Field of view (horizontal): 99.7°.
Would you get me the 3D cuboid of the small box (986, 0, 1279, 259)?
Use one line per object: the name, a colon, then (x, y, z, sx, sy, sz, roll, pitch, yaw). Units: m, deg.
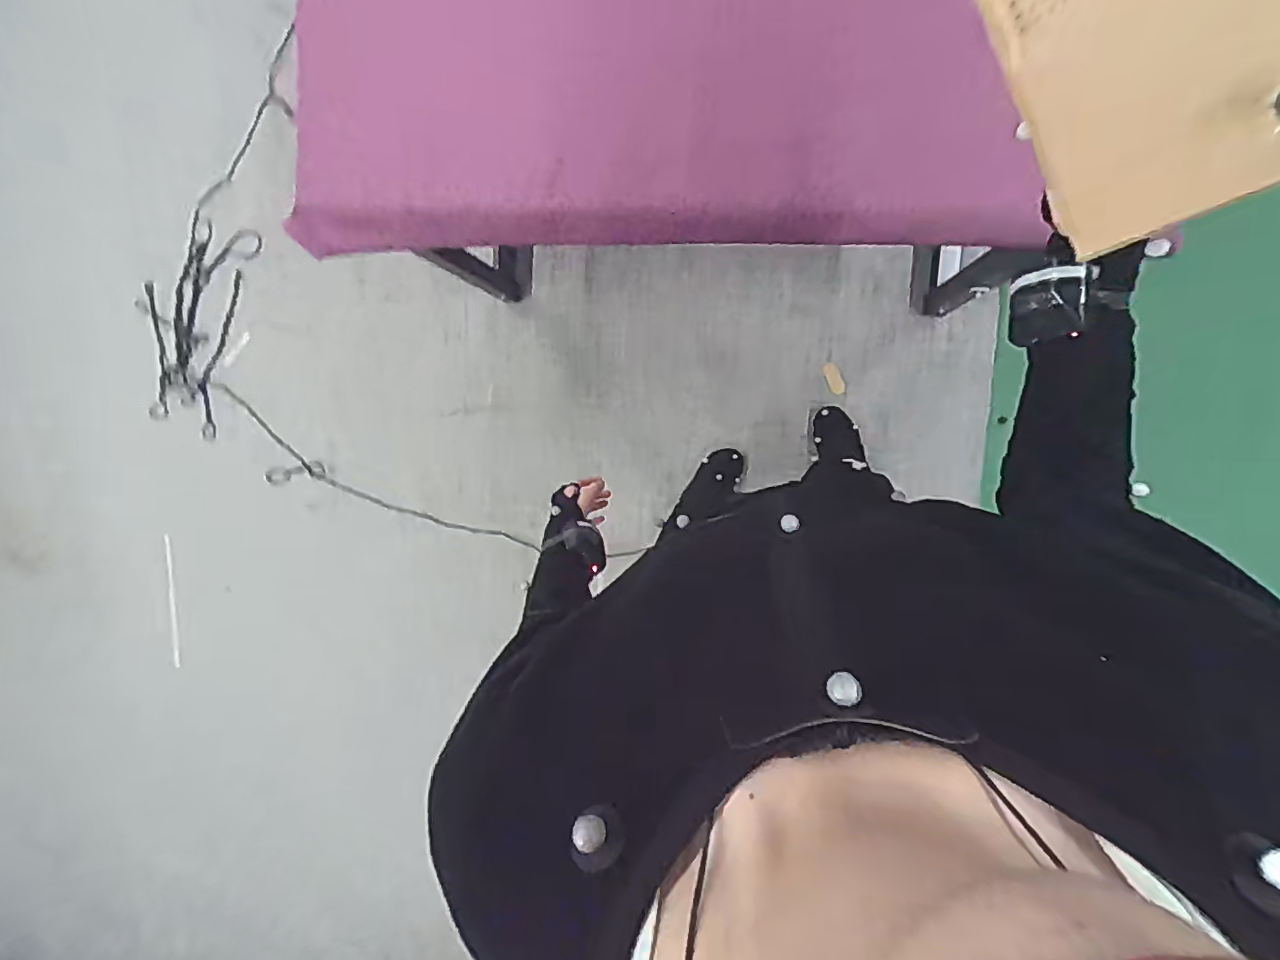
small box: (0.305, -0.257, 0.275, 0.176, 0.179, 0.168, 50, 57, -19)
